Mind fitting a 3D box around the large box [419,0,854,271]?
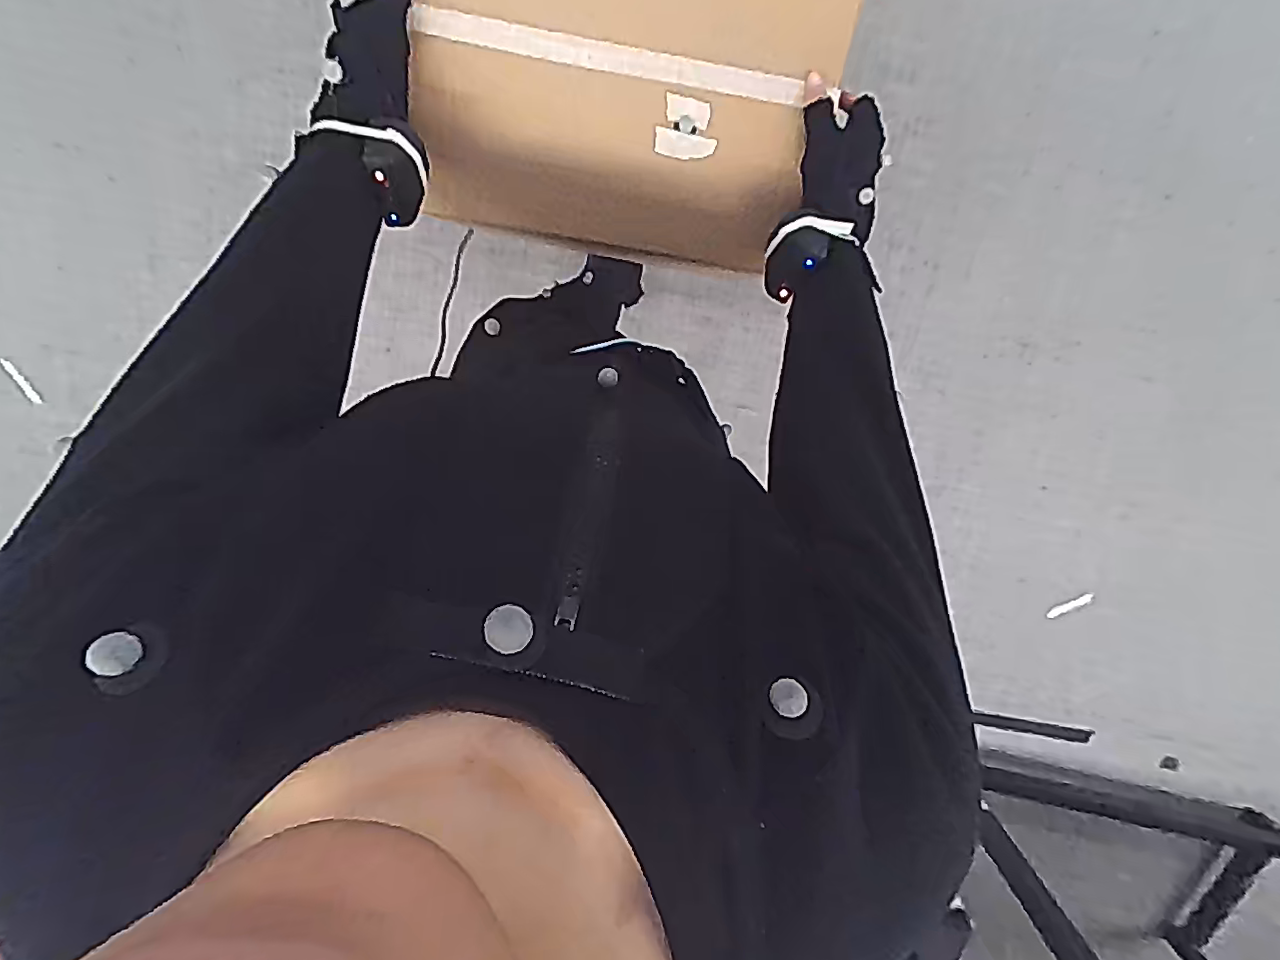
[{"bbox_3d":[-0.014,-0.447,0.656,0.408,0.320,0.320,8,111,-4],"label":"large box"}]
